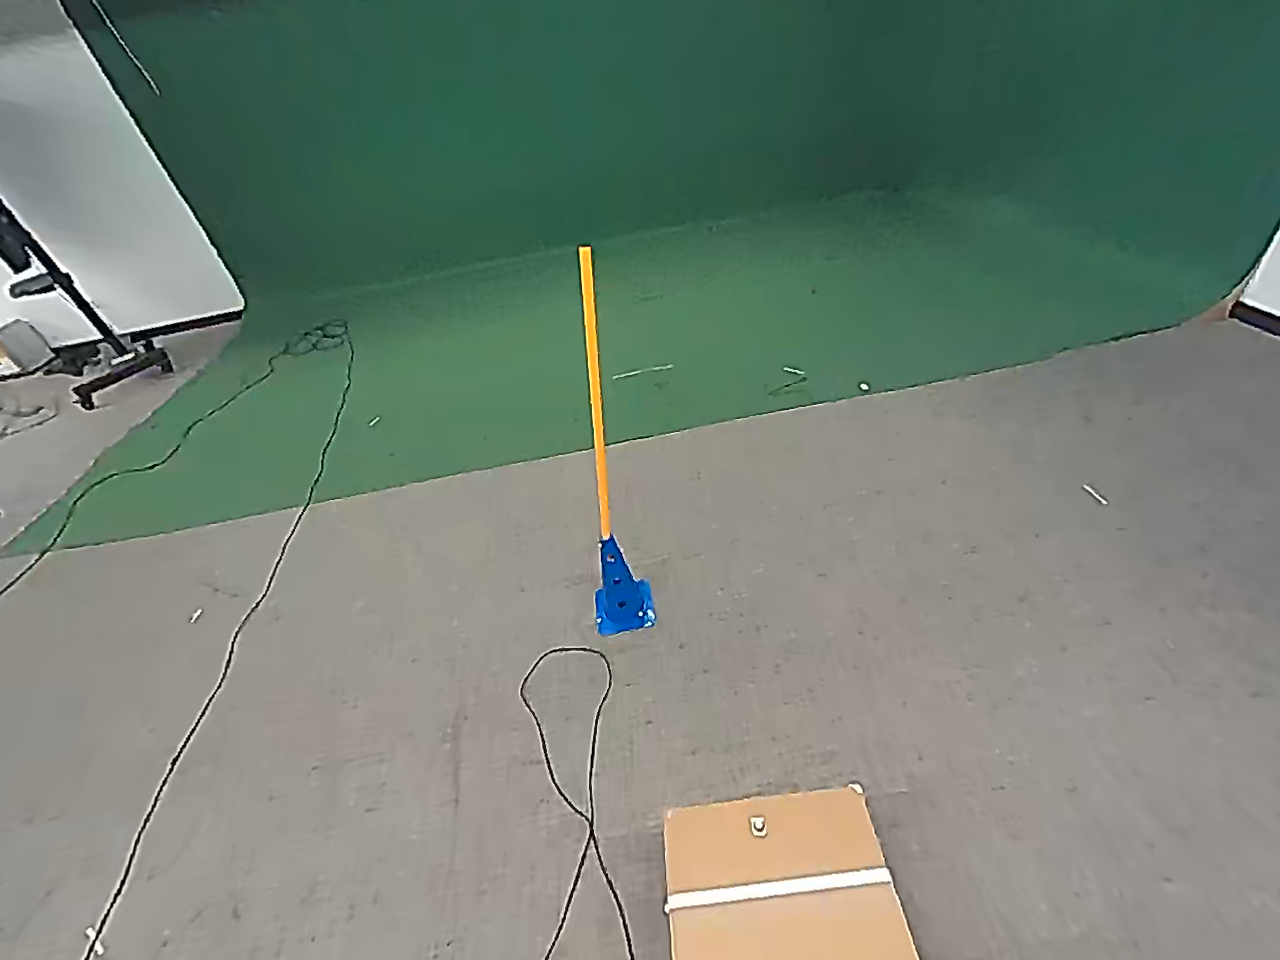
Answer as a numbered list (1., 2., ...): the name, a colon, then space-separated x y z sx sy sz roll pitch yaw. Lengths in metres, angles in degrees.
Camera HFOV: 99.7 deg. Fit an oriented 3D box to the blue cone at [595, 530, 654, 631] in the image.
1. blue cone: -0.076 0.300 1.762 0.193 0.380 0.192 -12 40 -3
